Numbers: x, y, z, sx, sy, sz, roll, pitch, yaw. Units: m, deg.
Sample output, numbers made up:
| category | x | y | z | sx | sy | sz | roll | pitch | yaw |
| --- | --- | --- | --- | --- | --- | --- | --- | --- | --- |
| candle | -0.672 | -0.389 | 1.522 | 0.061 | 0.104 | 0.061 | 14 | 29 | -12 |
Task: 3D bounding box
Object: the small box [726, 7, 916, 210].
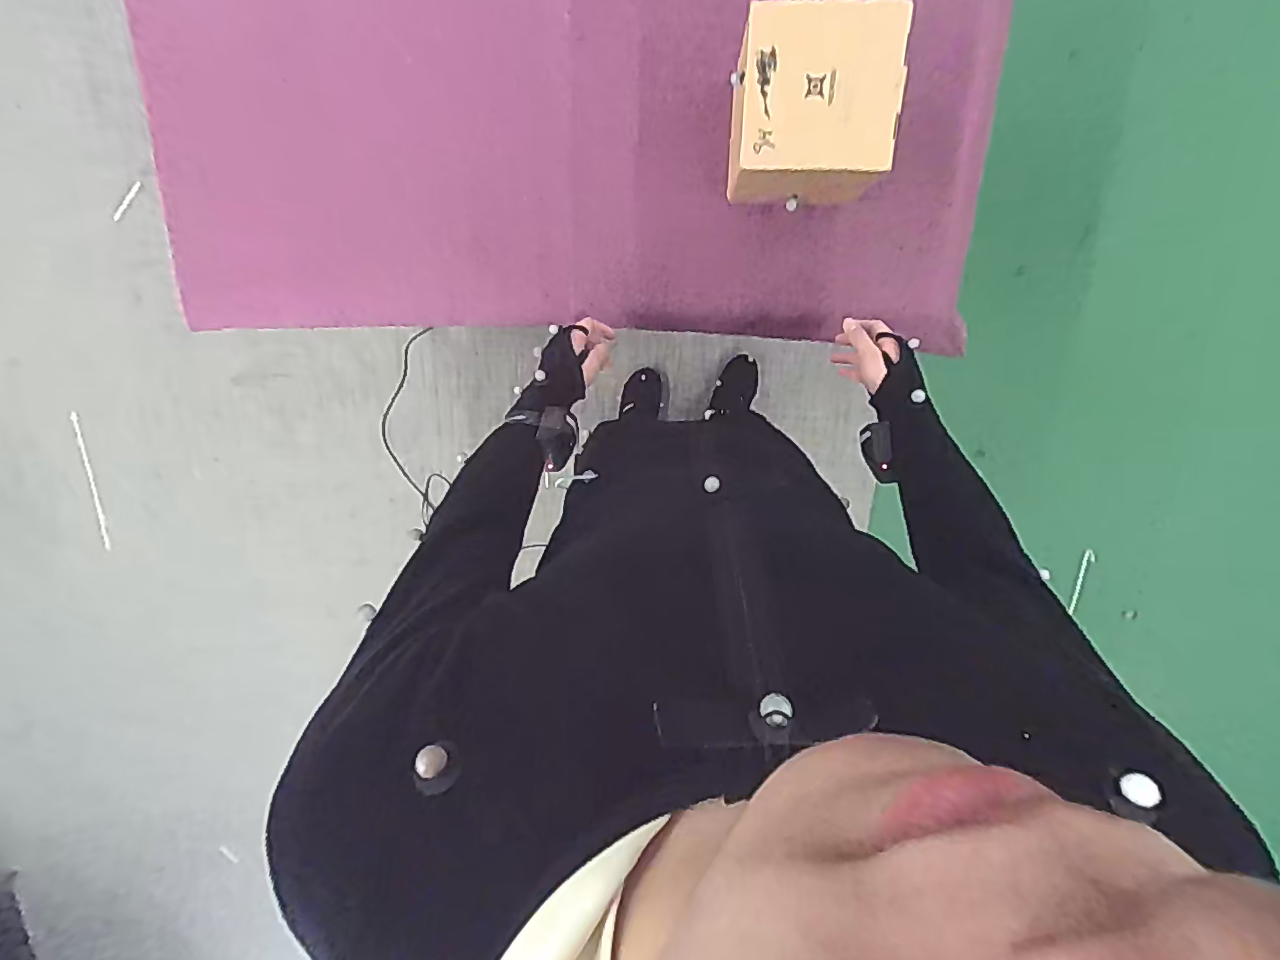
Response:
| category | x | y | z | sx | sy | sz | roll | pitch | yaw |
| --- | --- | --- | --- | --- | --- | --- | --- | --- | --- |
| small box | 0.210 | -0.447 | 0.679 | 0.179 | 0.176 | 0.168 | 3 | 105 | 3 |
